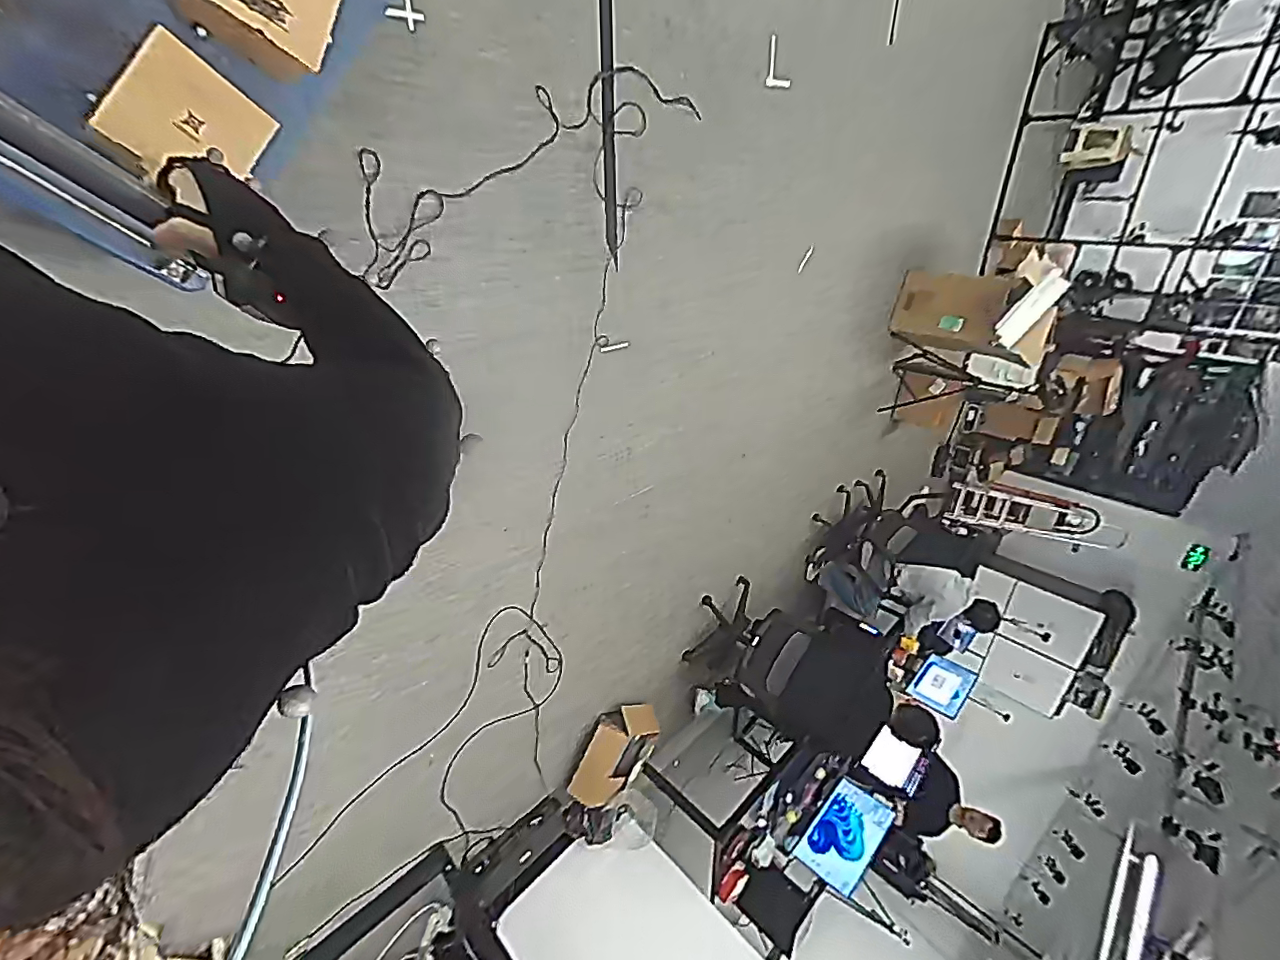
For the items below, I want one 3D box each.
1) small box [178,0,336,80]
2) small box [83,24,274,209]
[{"bbox_3d":[-0.612,-0.789,0.868,0.168,0.176,0.179,17,96,-50],"label":"small box"},{"bbox_3d":[-0.731,-0.559,0.857,0.168,0.176,0.179,35,81,-51],"label":"small box"}]
